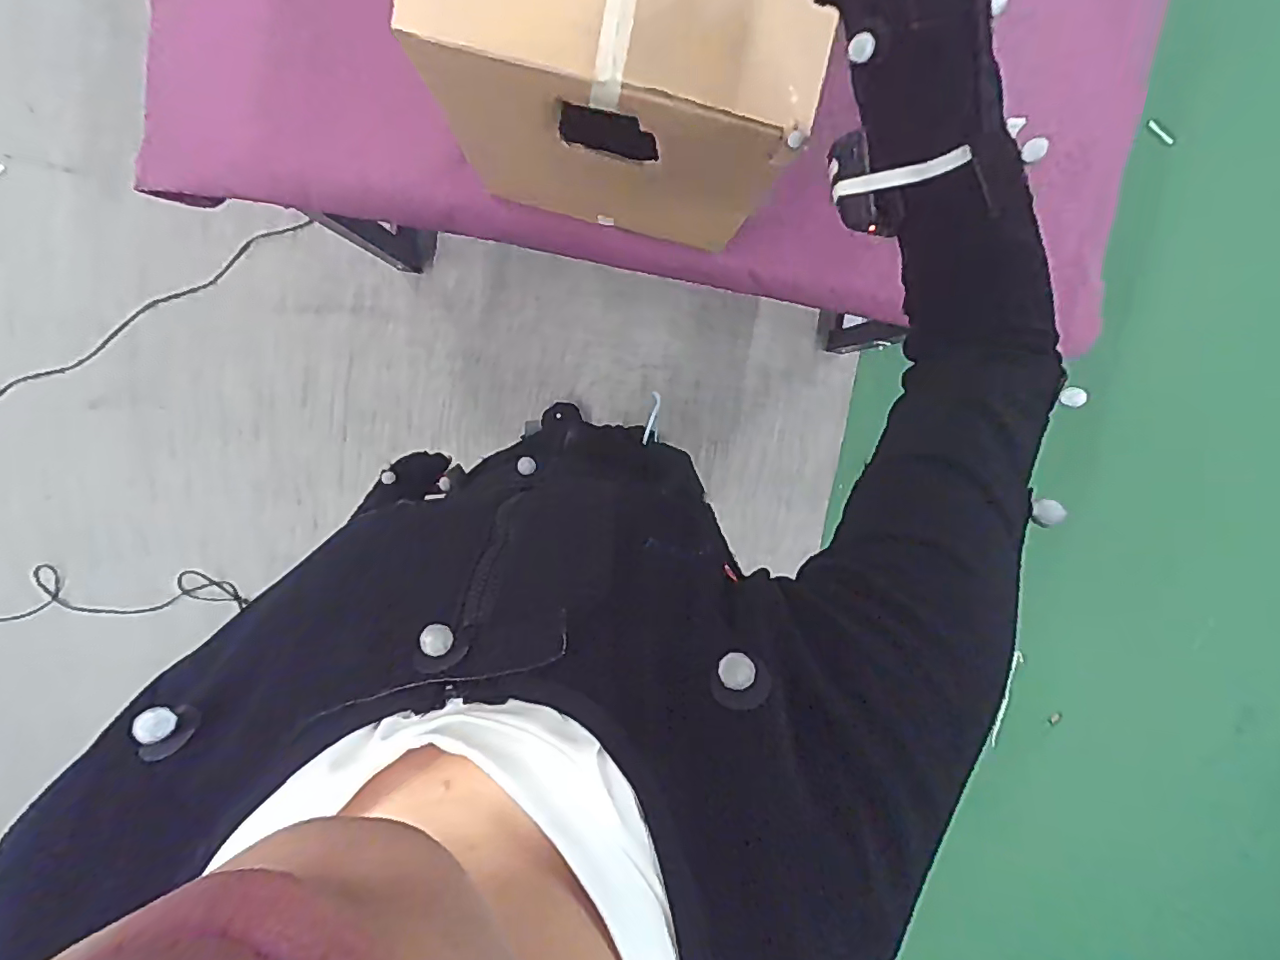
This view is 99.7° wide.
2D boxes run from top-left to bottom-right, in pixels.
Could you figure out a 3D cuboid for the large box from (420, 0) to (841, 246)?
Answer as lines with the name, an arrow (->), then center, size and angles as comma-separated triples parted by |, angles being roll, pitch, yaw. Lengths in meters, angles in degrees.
large box -> 0.012, -0.508, 0.536 | 0.320, 0.320, 0.408 | 12, 98, -5
